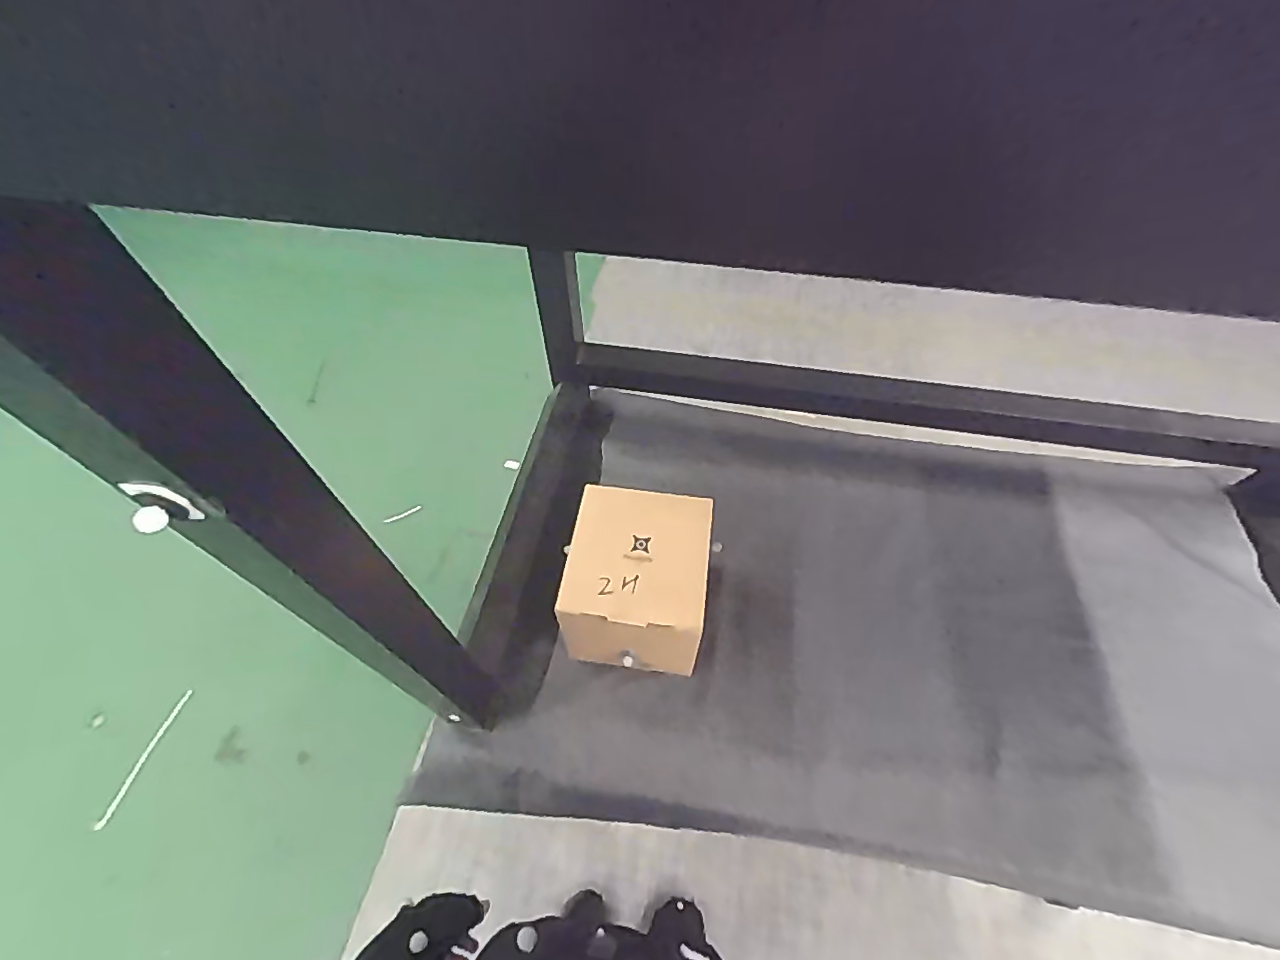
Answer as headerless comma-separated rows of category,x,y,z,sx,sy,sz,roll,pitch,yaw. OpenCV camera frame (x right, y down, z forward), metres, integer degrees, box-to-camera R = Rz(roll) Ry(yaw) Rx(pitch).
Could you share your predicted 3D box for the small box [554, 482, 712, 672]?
small box,-0.003,0.127,0.701,0.168,0.176,0.179,6,54,5
